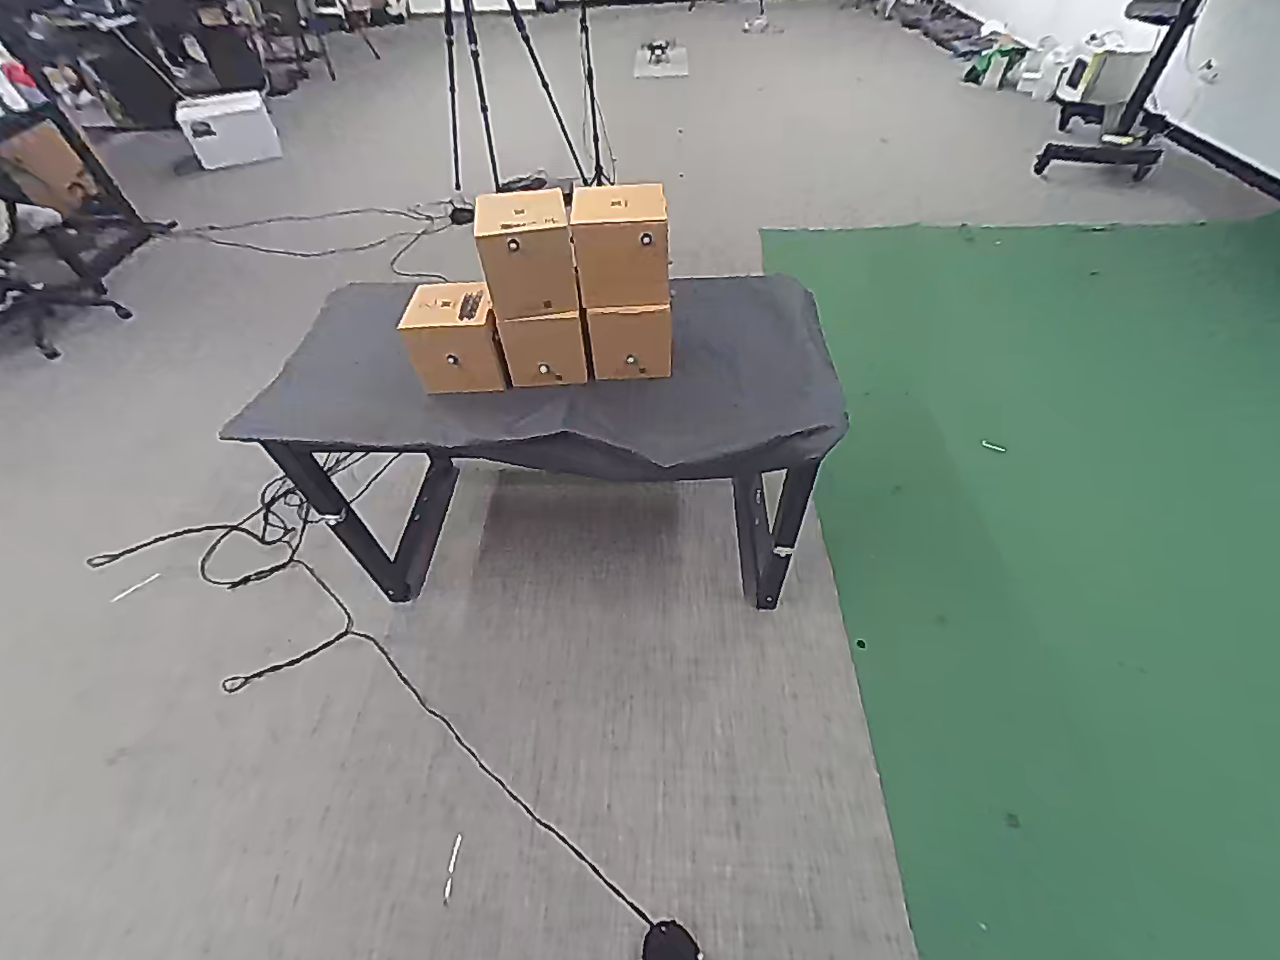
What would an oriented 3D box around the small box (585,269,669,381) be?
[{"bbox_3d":[-0.023,-0.336,1.174,0.168,0.176,0.179,-2,49,2],"label":"small box"}]
